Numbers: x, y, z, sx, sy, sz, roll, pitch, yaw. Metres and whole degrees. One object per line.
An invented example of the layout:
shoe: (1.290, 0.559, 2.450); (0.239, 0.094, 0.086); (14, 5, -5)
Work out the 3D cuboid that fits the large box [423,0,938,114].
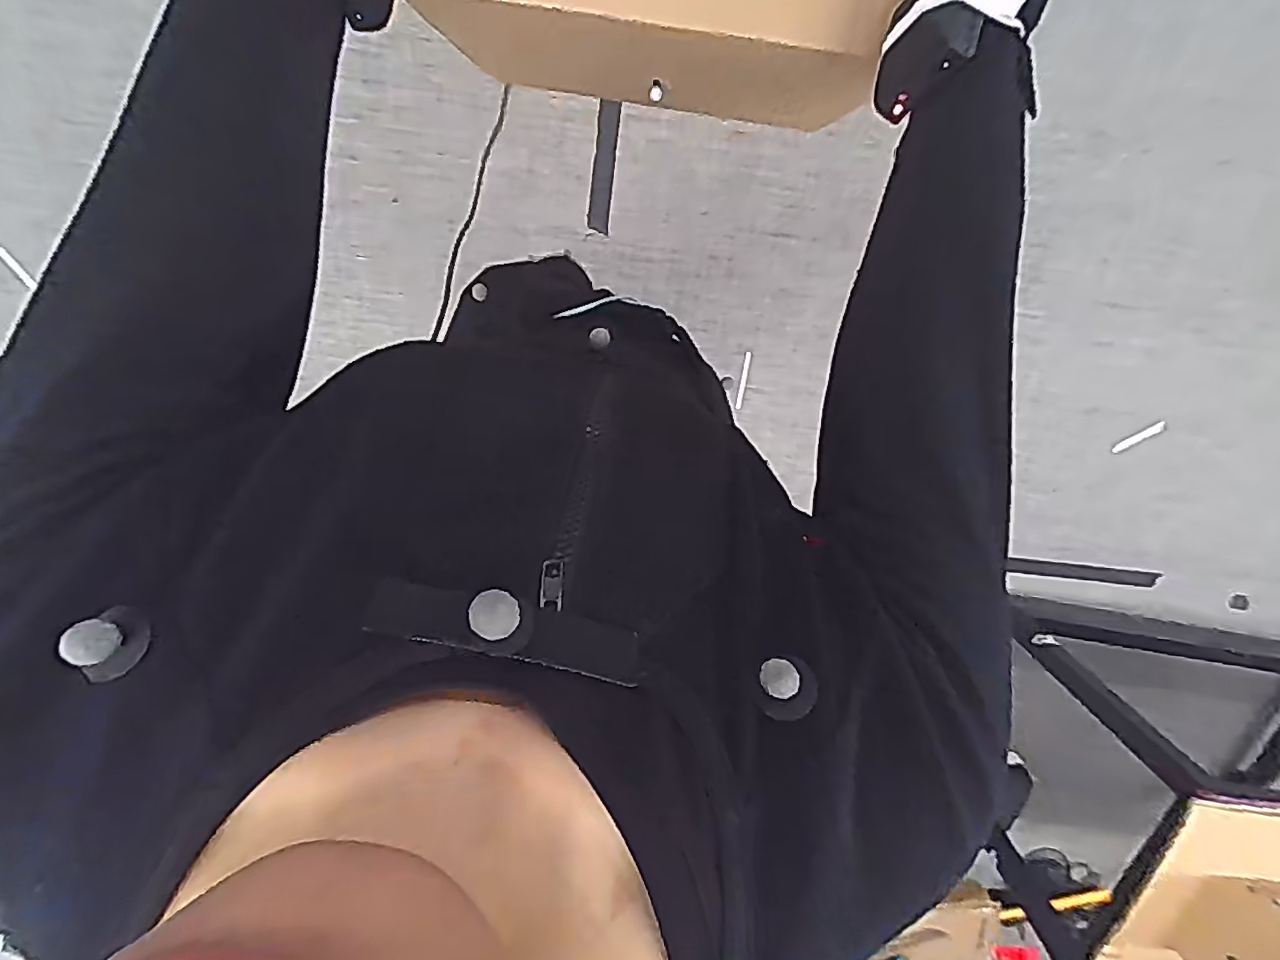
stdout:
large box: (0.040, -0.541, 0.463); (0.408, 0.320, 0.320); (8, 115, -1)
